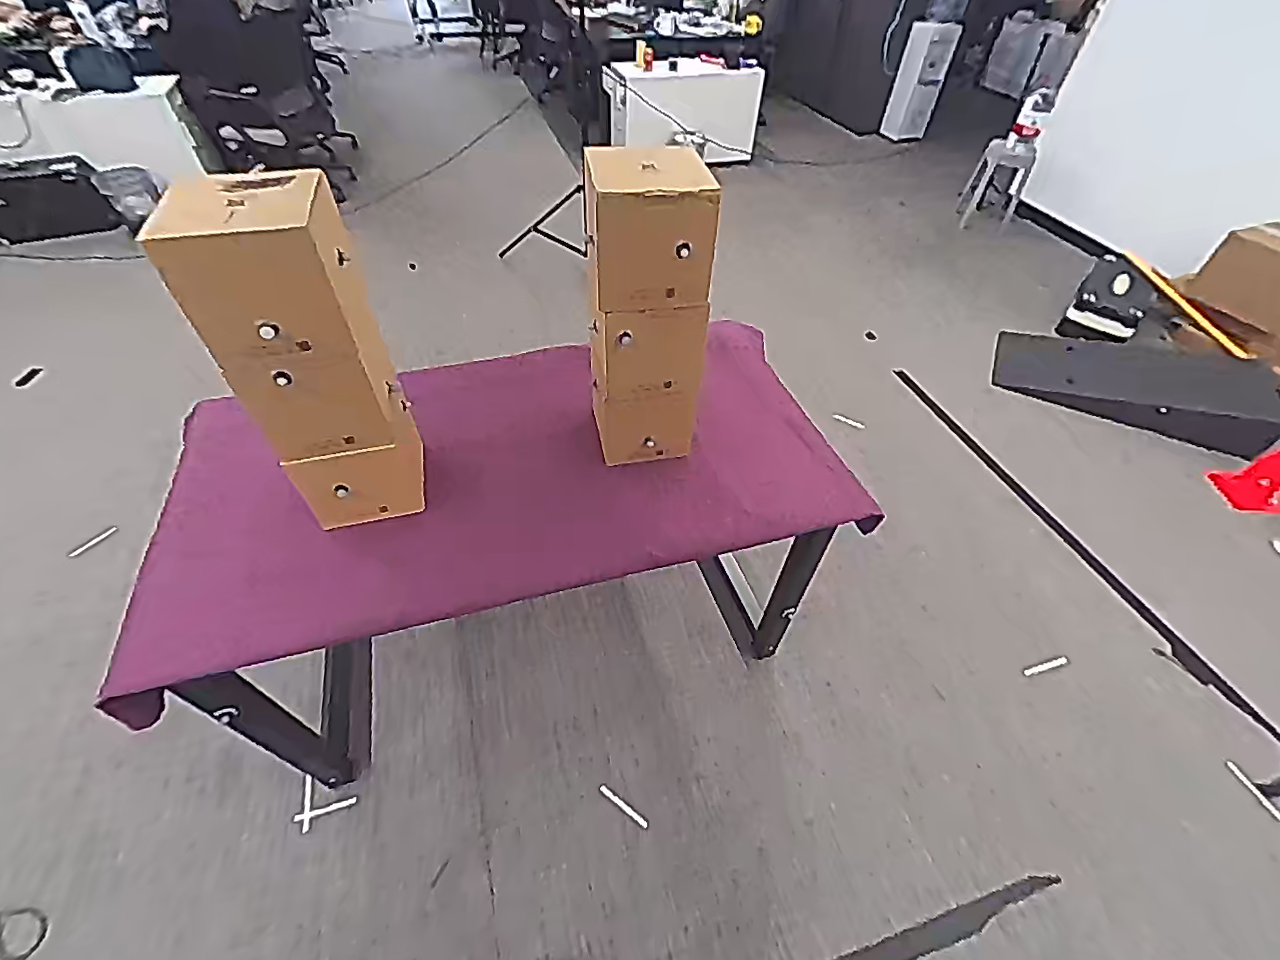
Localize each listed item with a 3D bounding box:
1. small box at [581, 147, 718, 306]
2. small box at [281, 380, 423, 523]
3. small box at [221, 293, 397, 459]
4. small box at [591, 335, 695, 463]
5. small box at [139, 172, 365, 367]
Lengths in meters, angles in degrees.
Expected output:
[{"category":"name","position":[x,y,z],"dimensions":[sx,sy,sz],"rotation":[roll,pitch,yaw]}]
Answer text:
[{"category":"small box","position":[0.006,-0.369,0.798],"dimensions":[0.168,0.176,0.179],"rotation":[-6,47,-9]},{"category":"small box","position":[-0.478,-0.043,0.926],"dimensions":[0.168,0.176,0.179],"rotation":[-11,49,-12]},{"category":"small box","position":[-0.475,-0.157,0.808],"dimensions":[0.168,0.176,0.179],"rotation":[-12,49,-12]},{"category":"small box","position":[-0.002,-0.156,1.046],"dimensions":[0.168,0.176,0.179],"rotation":[-8,49,-9]},{"category":"small box","position":[-0.465,-0.267,0.685],"dimensions":[0.168,0.176,0.179],"rotation":[-11,50,-12]}]
